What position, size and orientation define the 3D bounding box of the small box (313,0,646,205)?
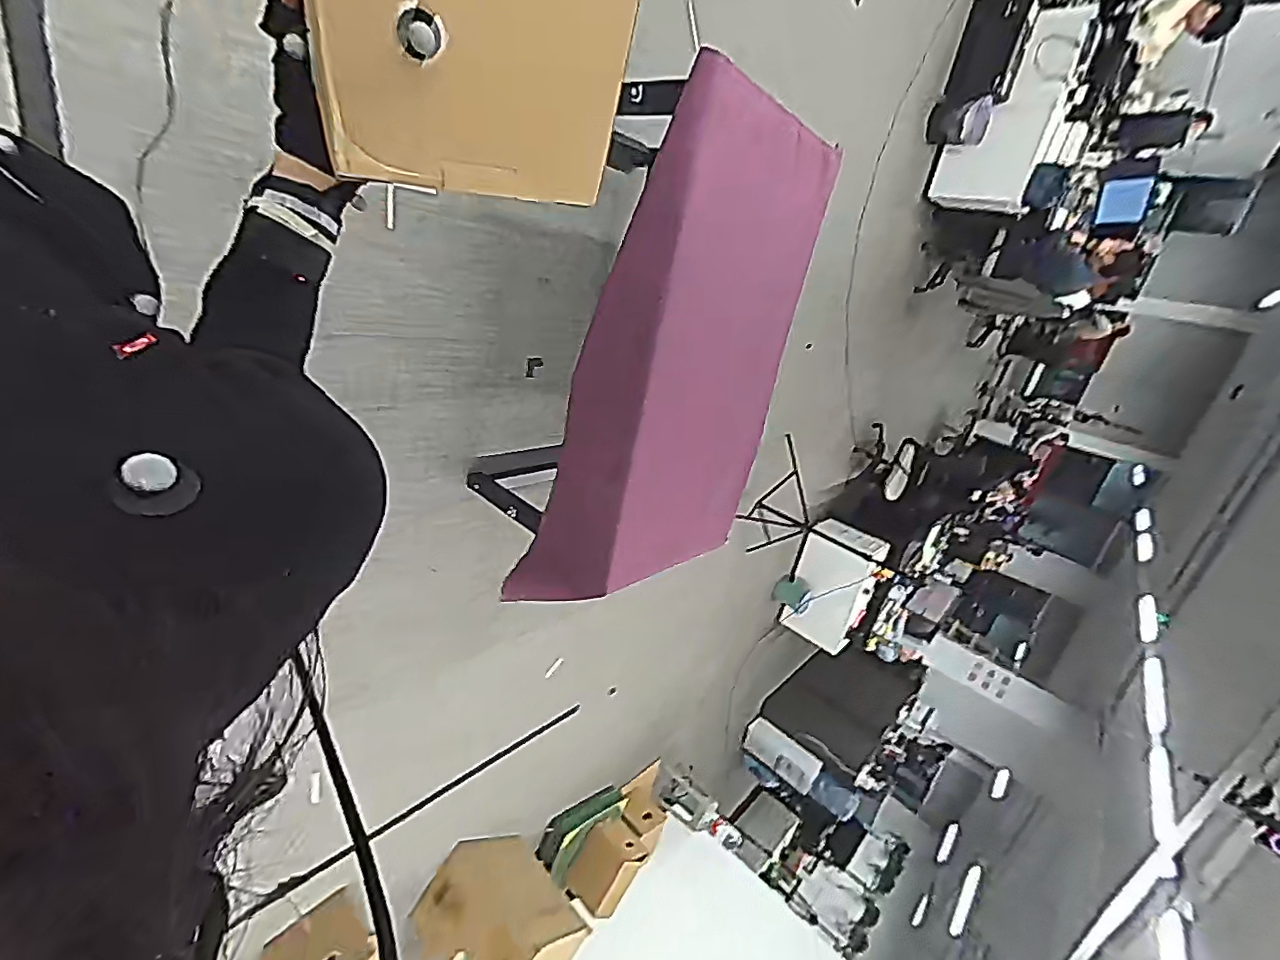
[{"bbox_3d":[-0.105,-0.299,0.328,0.168,0.179,0.176,-6,141,-29],"label":"small box"}]
